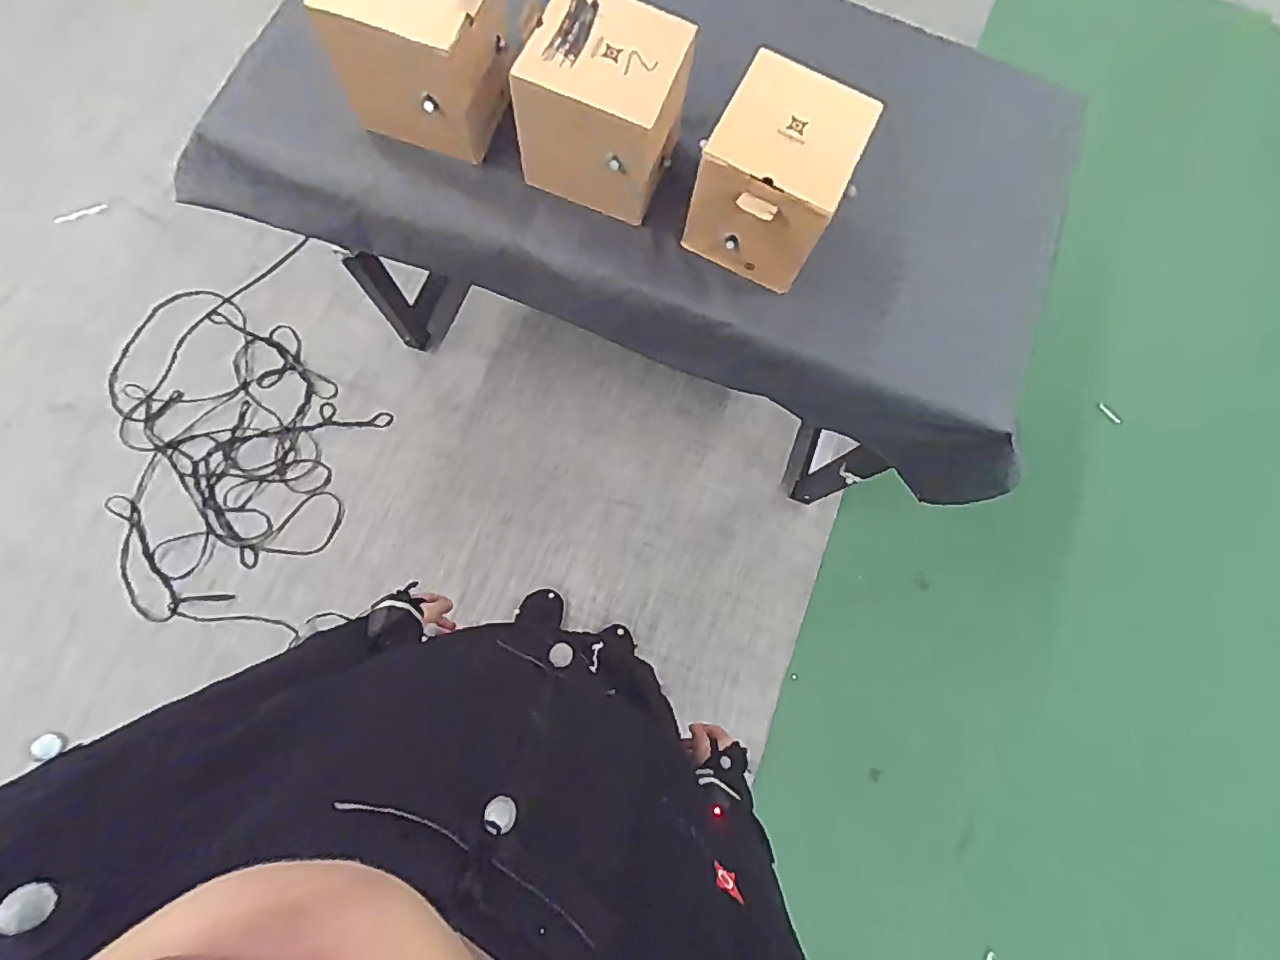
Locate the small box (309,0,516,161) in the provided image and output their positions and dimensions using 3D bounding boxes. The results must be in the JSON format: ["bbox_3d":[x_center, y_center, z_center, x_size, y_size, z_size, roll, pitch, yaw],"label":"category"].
[{"bbox_3d":[-0.275,-0.559,0.706,0.179,0.176,0.168,17,76,0],"label":"small box"}]

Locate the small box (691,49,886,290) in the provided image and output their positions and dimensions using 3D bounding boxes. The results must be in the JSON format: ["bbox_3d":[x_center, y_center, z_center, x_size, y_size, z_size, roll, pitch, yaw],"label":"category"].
[{"bbox_3d":[0.180,-0.390,0.705,0.168,0.176,0.179,26,78,1],"label":"small box"}]
